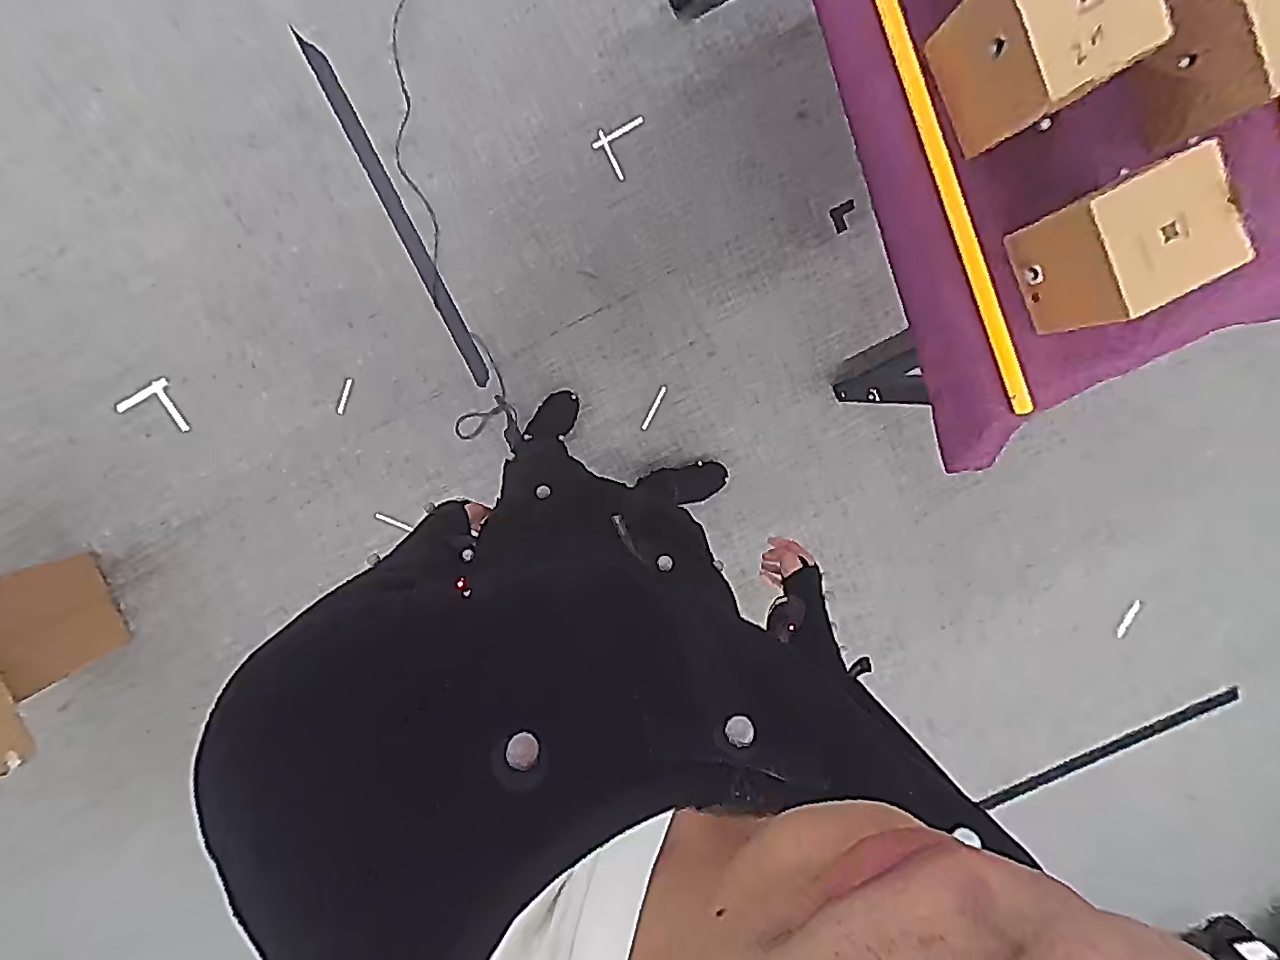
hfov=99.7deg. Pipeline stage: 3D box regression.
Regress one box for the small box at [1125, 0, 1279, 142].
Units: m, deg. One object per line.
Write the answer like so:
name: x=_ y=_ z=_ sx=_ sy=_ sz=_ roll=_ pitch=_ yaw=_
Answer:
small box: x=0.807 y=-0.590 z=0.720 sx=0.168 sy=0.176 sz=0.179 roll=-29 pitch=98 yaw=5

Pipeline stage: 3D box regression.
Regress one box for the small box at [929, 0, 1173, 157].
small box: x=0.525 y=-0.579 z=0.717 sx=0.168 sy=0.176 sz=0.179 roll=-28 pitch=99 yaw=2

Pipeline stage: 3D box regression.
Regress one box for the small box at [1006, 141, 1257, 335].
small box: x=0.673 y=-0.323 z=0.761 sx=0.179 sy=0.176 sz=0.168 roll=-27 pitch=97 yaw=2
